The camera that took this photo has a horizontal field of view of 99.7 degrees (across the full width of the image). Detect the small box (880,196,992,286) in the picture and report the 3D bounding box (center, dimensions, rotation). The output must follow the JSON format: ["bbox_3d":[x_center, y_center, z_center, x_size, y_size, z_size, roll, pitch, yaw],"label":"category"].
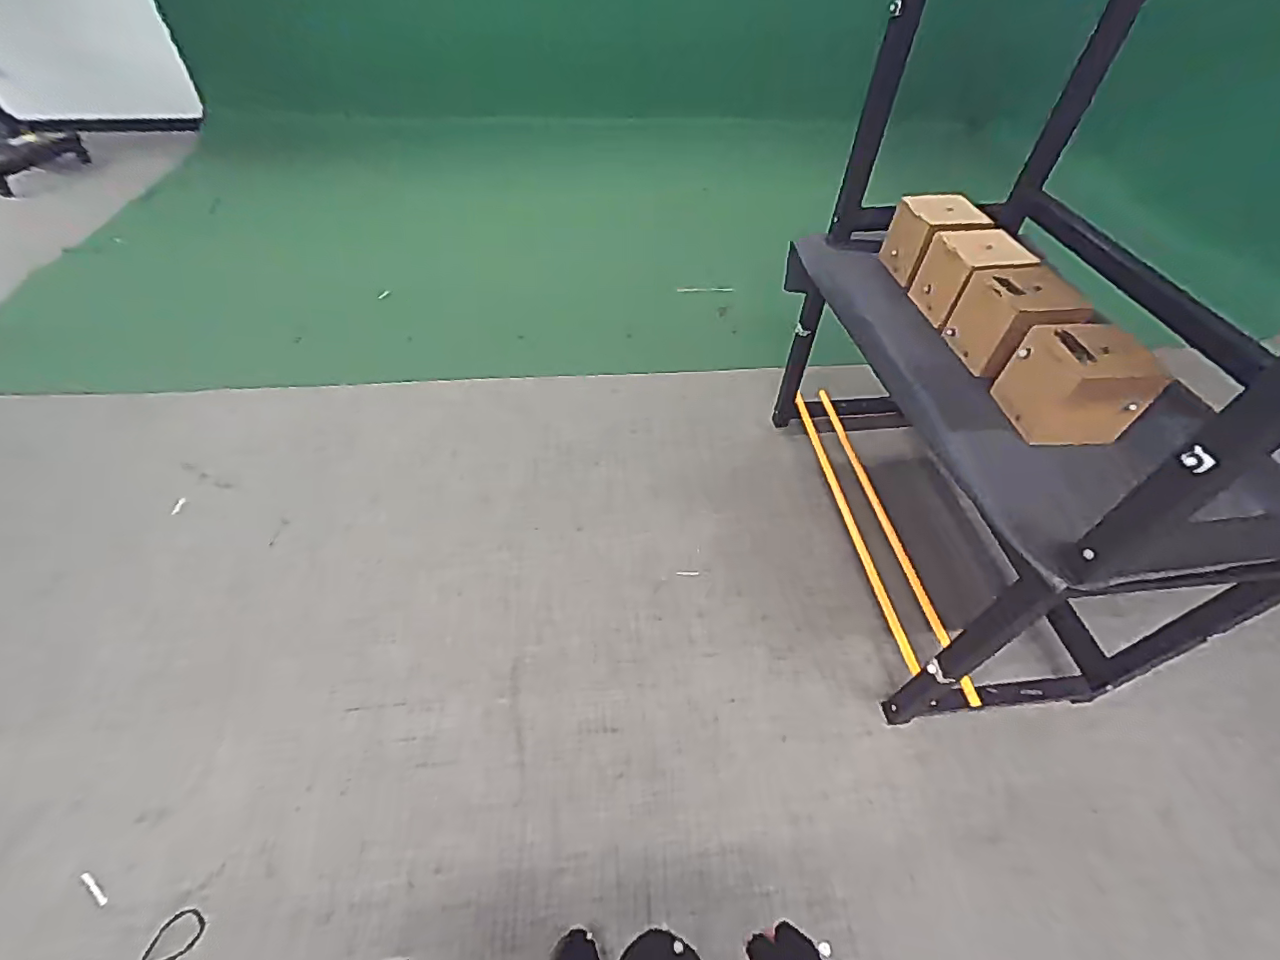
[{"bbox_3d":[0.779,-0.636,1.445,0.179,0.176,0.168,-5,50,-6],"label":"small box"}]
